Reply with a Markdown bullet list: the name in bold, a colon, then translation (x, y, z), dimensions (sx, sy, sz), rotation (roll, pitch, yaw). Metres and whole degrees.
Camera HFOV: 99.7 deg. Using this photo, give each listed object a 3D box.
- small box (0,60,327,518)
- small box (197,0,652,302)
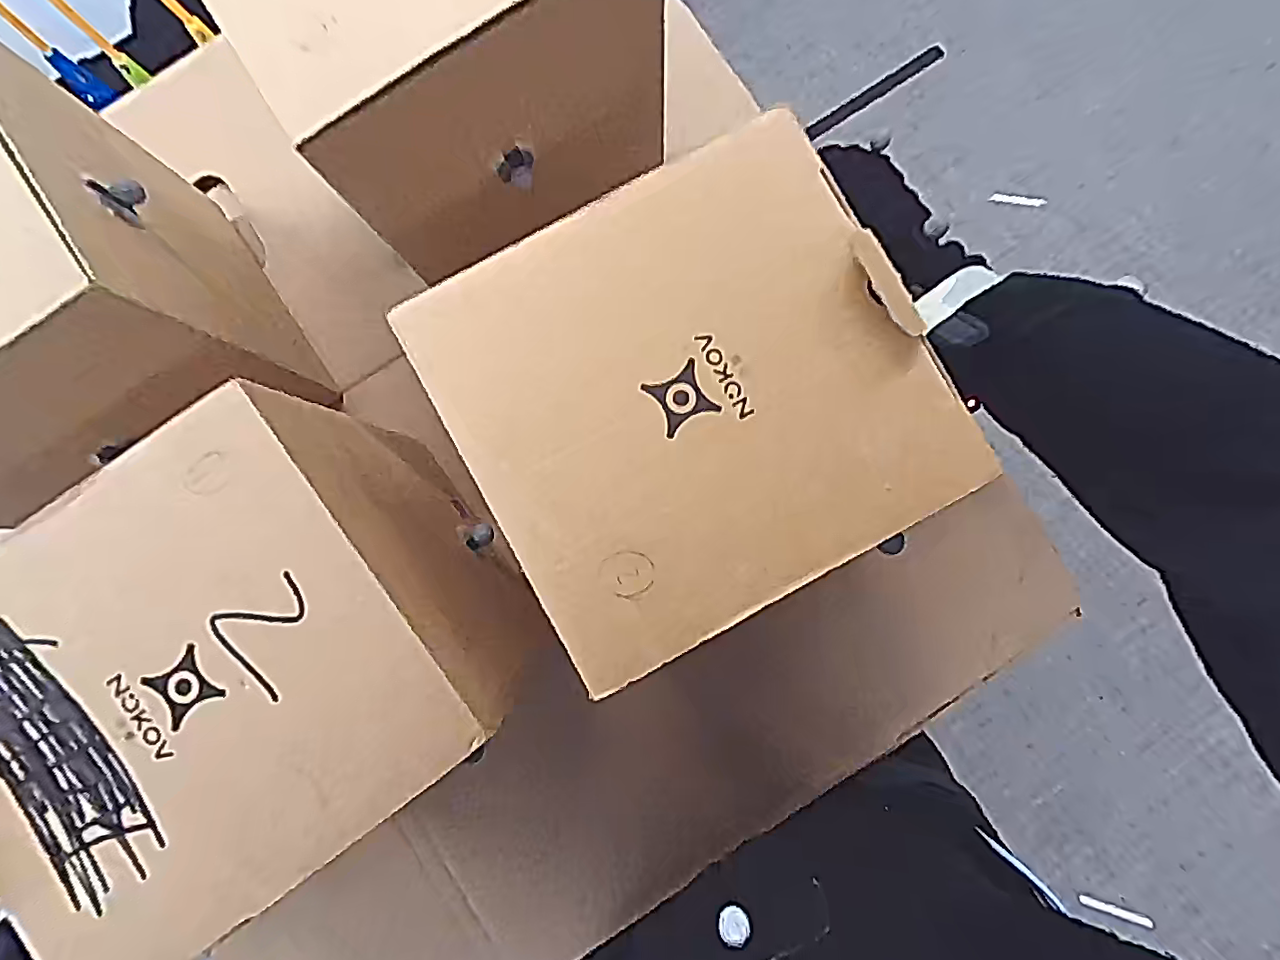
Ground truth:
- **small box**: translation (-0.325, -0.090, 0.305), dimensions (0.168, 0.176, 0.179), rotation (-35, 83, -1)
- **small box**: translation (-0.107, -0.237, 0.305), dimensions (0.179, 0.176, 0.168), rotation (-31, 85, 0)
